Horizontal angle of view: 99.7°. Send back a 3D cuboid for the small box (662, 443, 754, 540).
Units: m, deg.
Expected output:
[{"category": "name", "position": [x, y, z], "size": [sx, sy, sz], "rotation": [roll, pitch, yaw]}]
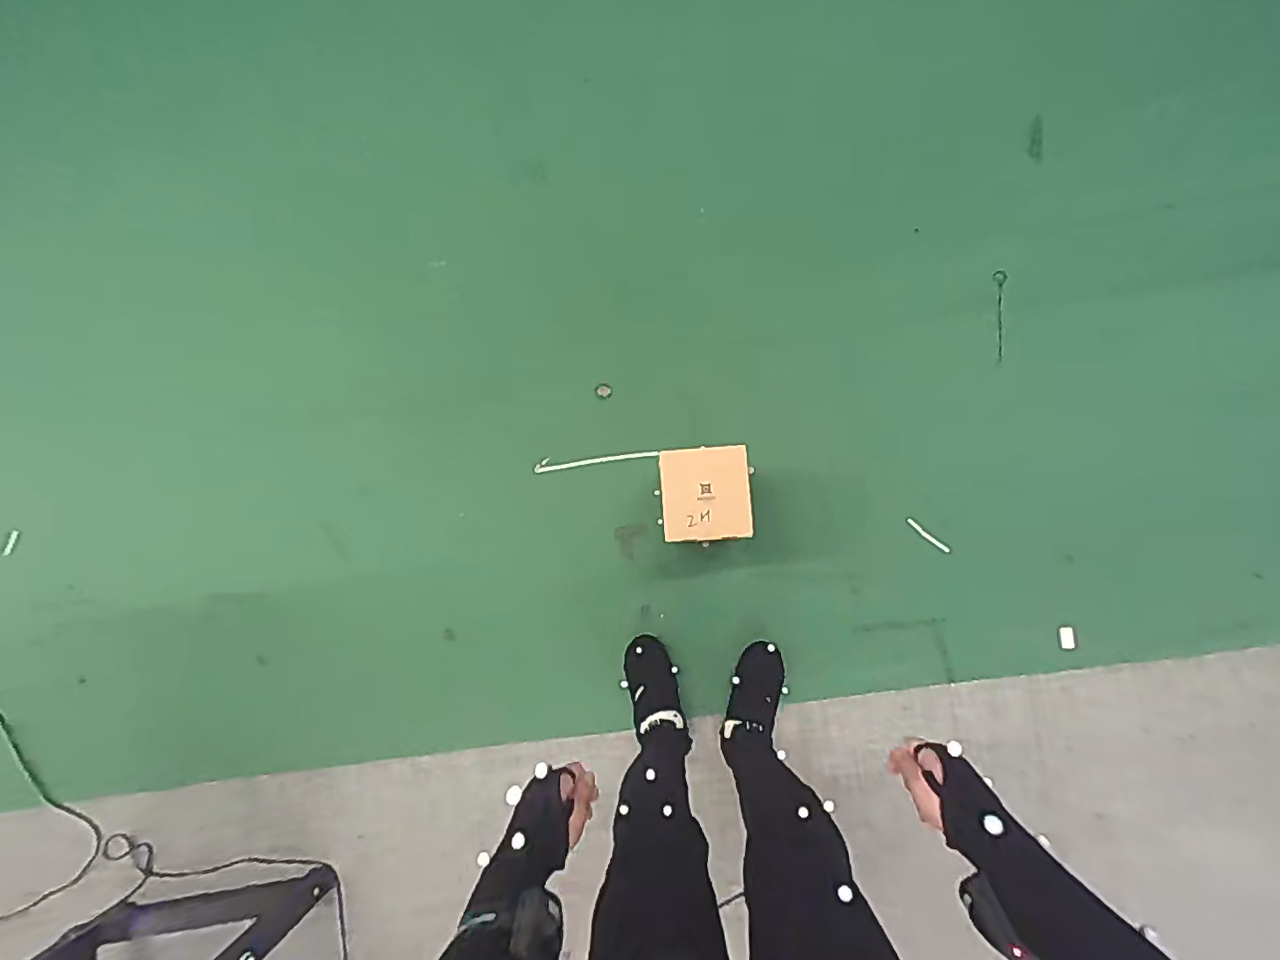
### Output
[{"category": "small box", "position": [0.130, 0.029, 1.086], "size": [0.168, 0.176, 0.179], "rotation": [-4, 85, 4]}]
